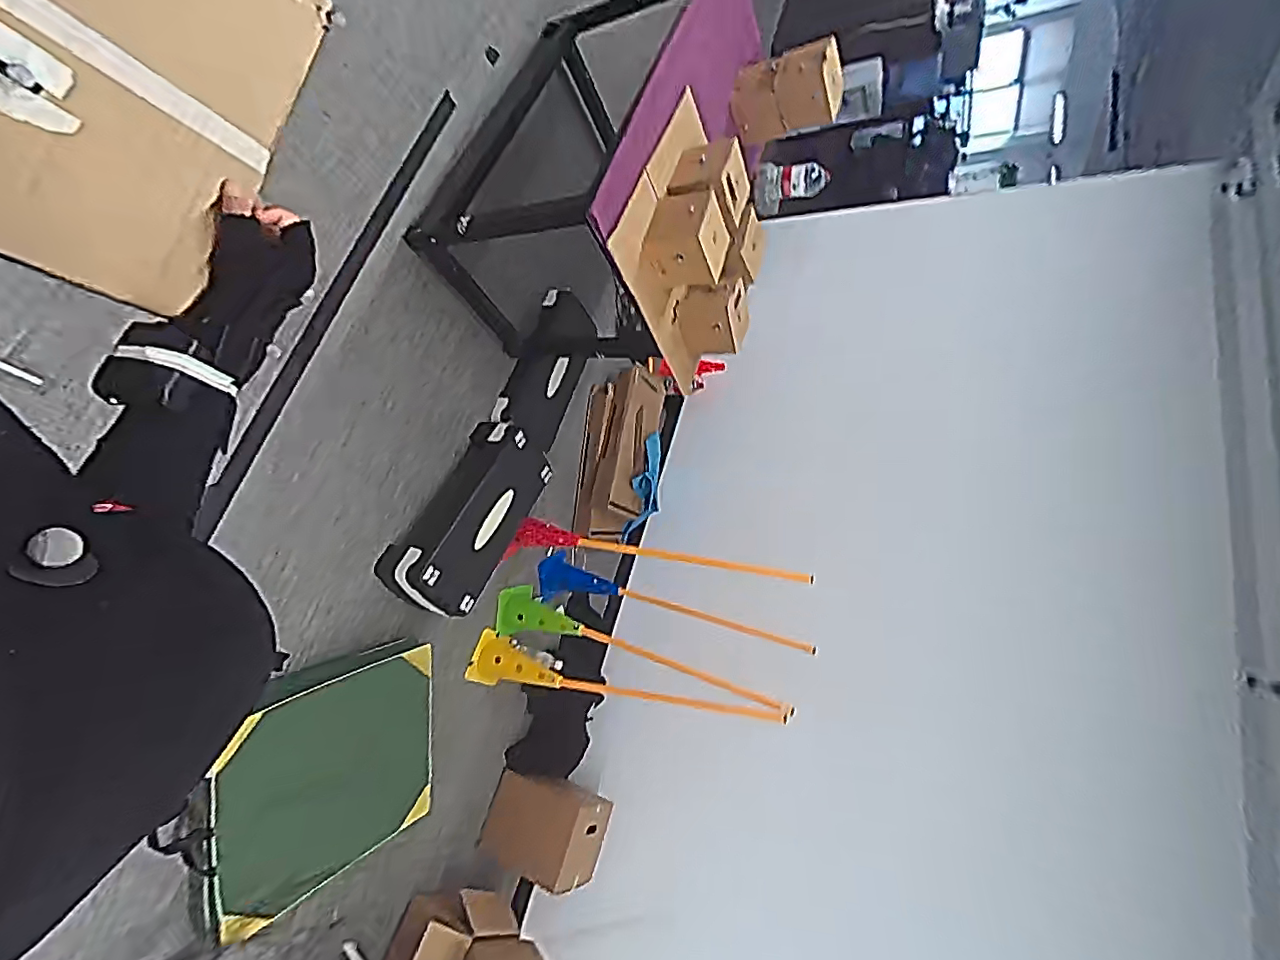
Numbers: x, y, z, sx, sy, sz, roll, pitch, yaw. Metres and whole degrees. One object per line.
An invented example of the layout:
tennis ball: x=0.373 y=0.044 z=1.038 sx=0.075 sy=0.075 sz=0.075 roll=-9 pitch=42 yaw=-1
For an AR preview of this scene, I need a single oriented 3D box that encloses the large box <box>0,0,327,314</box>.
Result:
large box: x=-0.550 y=-0.368 z=0.394 sx=0.408 sy=0.320 sz=0.320 roll=25 pitch=87 yaw=-58
